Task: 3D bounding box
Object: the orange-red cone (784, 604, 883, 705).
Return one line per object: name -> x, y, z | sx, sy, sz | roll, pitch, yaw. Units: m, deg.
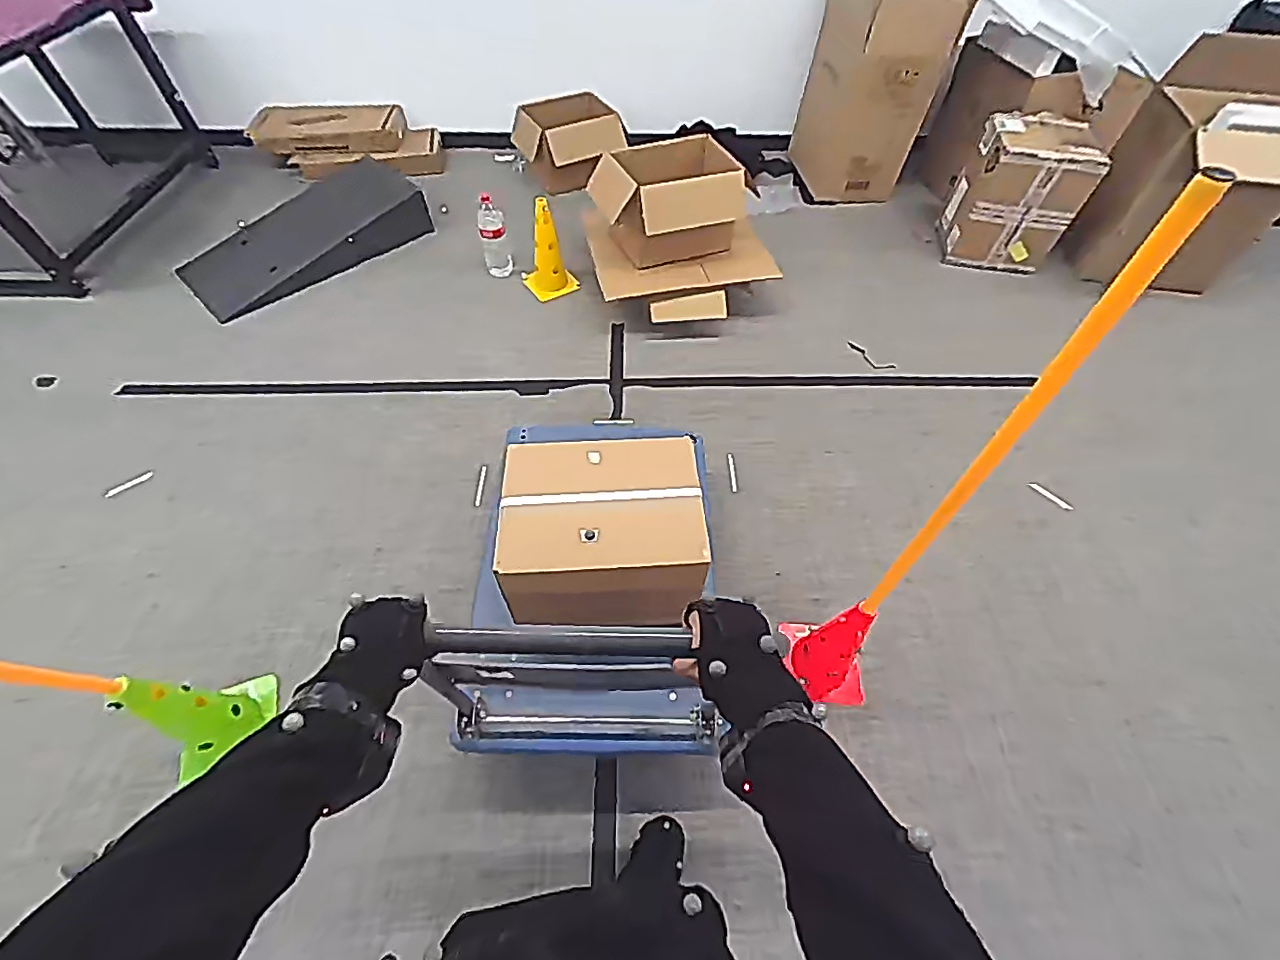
orange-red cone -> 0.475, 0.369, 1.245 | 0.199, 0.360, 0.198 | 6, 55, 1
